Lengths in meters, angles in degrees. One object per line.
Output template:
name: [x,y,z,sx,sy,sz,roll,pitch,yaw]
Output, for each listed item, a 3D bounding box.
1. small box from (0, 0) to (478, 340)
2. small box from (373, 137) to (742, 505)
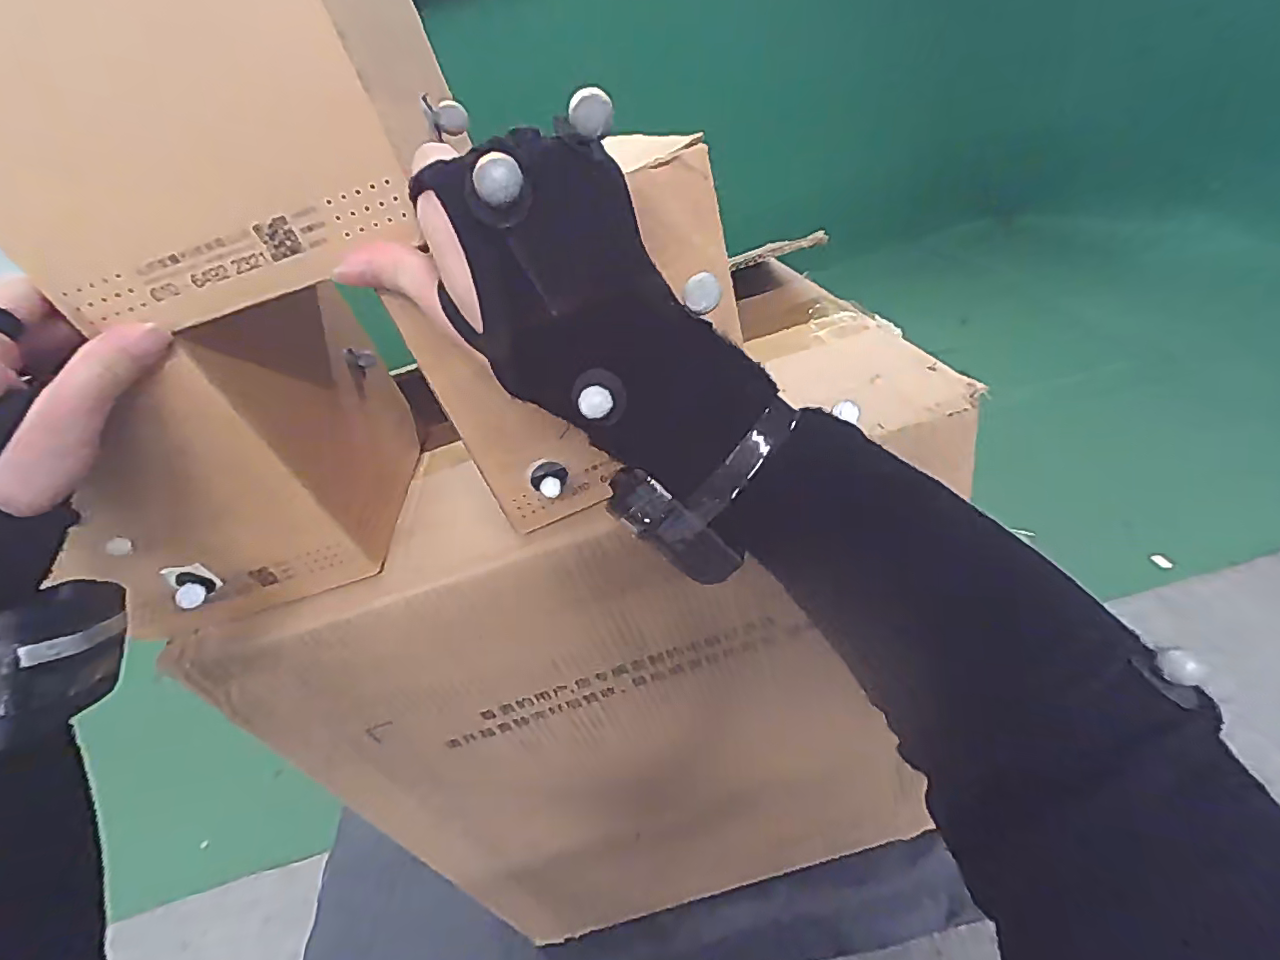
small box: [-0.193,-0.189,0.259,0.168,0.176,0.179,-17,36,3]
small box: [-0.049,-0.104,0.358,0.168,0.176,0.179,-23,36,-6]
